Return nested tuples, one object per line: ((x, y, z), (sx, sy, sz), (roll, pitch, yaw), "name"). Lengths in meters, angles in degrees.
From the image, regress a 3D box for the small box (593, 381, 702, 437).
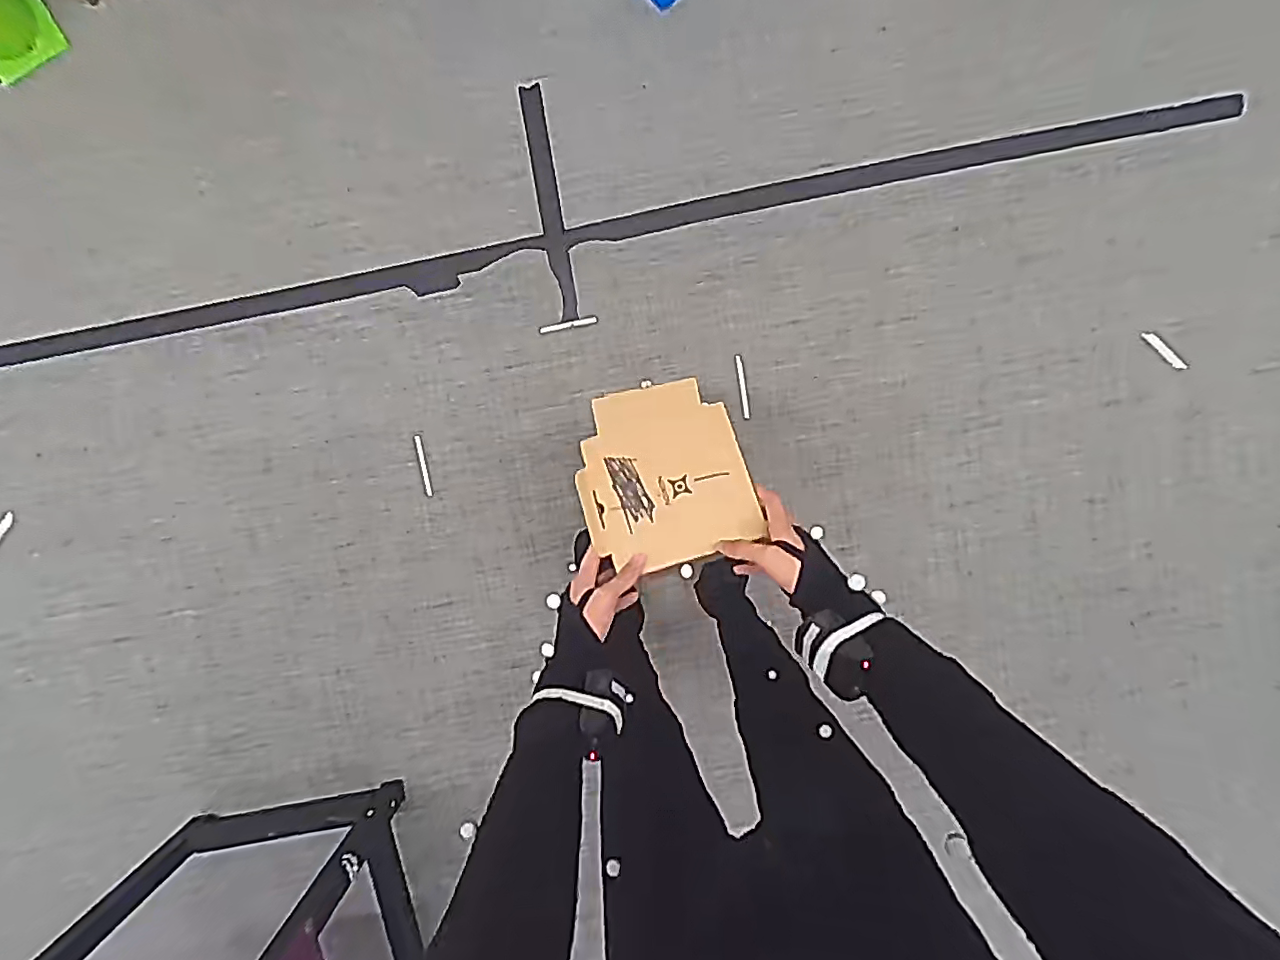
((0.021, -0.059, 0.904), (0.168, 0.176, 0.179), (-11, 97, 1), "small box")

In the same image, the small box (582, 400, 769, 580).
((0.043, 0.025, 0.680), (0.179, 0.176, 0.168), (-17, 78, 1), "small box")
